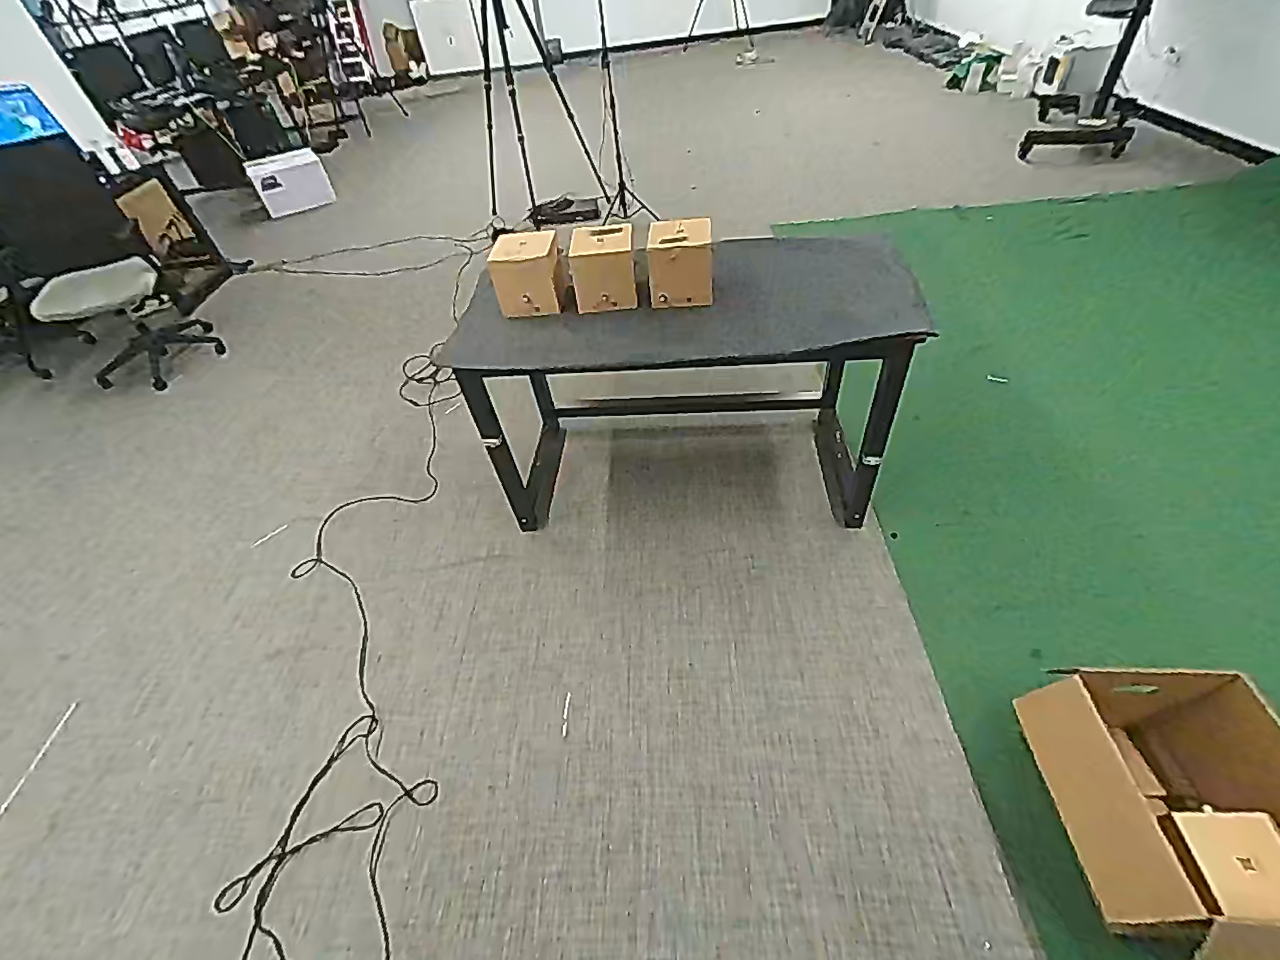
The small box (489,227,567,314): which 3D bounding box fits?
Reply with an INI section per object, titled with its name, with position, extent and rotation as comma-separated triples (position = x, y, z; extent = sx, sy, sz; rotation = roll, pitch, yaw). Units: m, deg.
[small box]
position = -0.306, -0.589, 1.522
extent = 0.168, 0.176, 0.179
rotation = -3, 46, 6
